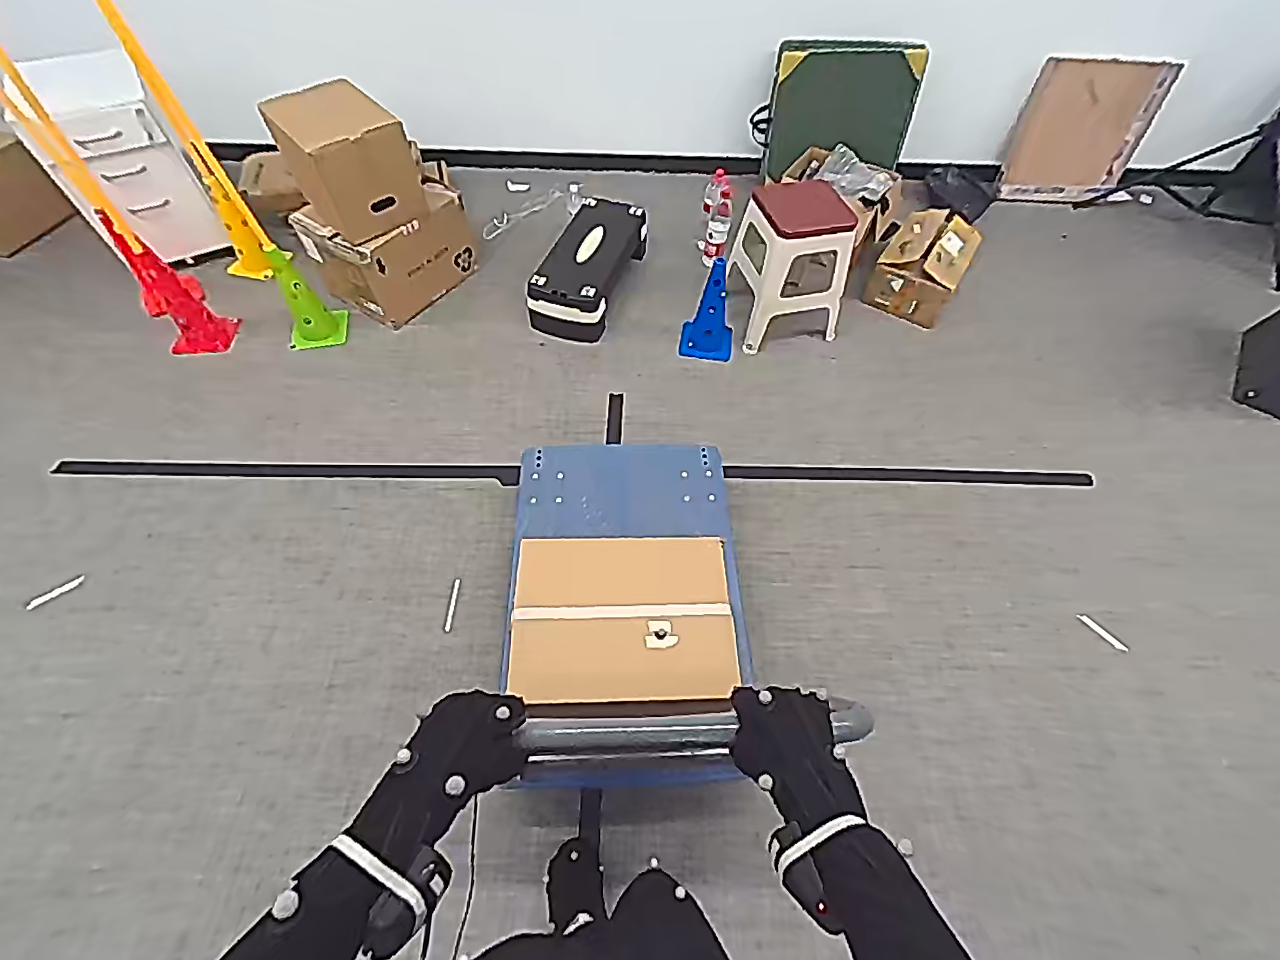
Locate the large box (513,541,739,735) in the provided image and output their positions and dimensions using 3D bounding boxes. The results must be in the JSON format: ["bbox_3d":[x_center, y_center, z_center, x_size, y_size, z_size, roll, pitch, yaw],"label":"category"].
[{"bbox_3d":[-0.038,0.337,1.143,0.408,0.320,0.320,0,56,-4],"label":"large box"}]
